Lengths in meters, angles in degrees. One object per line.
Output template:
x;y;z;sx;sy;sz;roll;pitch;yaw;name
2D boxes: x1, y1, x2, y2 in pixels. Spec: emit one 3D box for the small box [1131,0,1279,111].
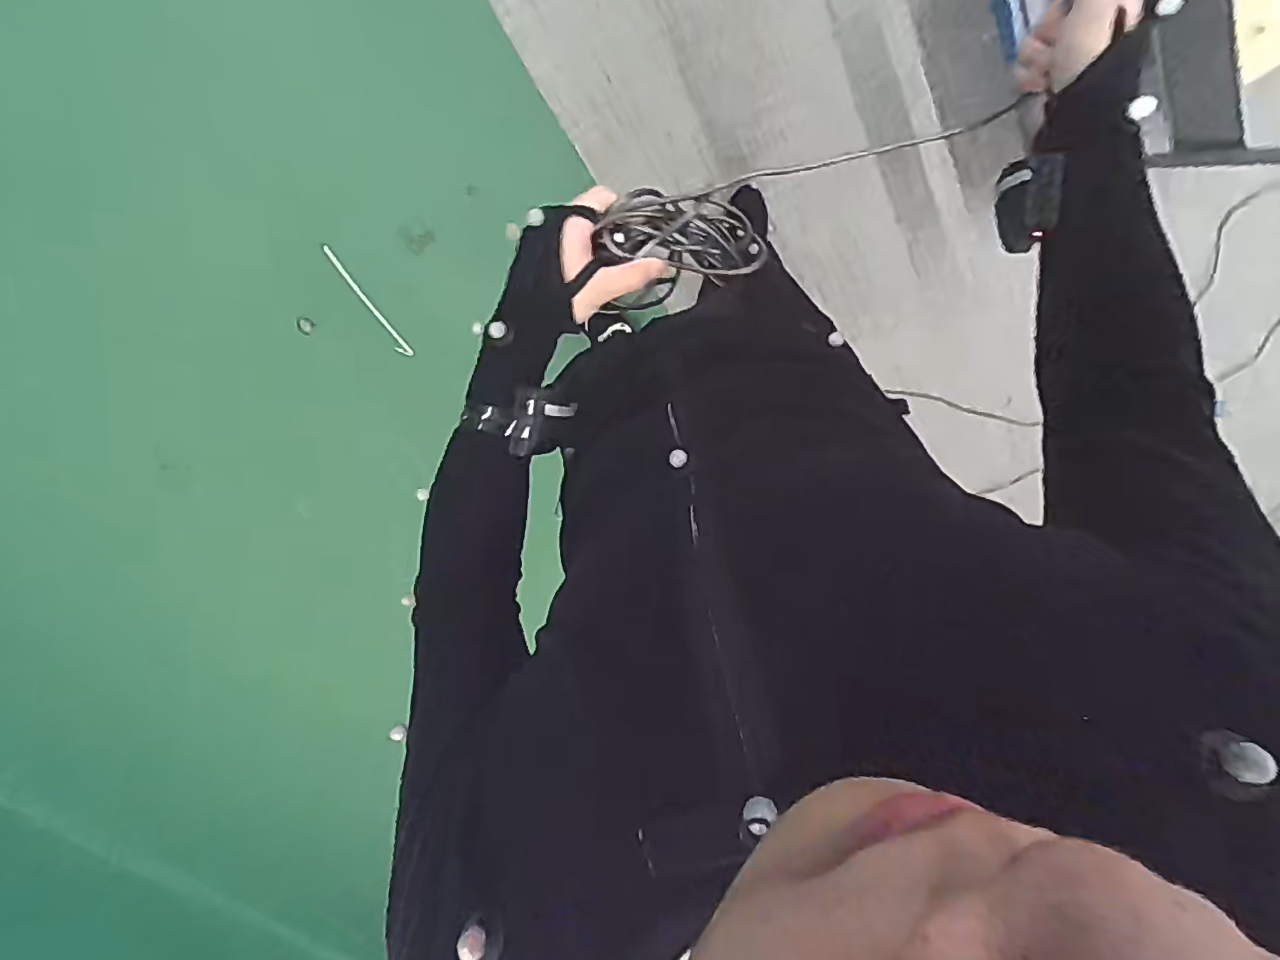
1.160;-0.889;1.096;0.179;0.176;0.168;-29;116;10;small box
